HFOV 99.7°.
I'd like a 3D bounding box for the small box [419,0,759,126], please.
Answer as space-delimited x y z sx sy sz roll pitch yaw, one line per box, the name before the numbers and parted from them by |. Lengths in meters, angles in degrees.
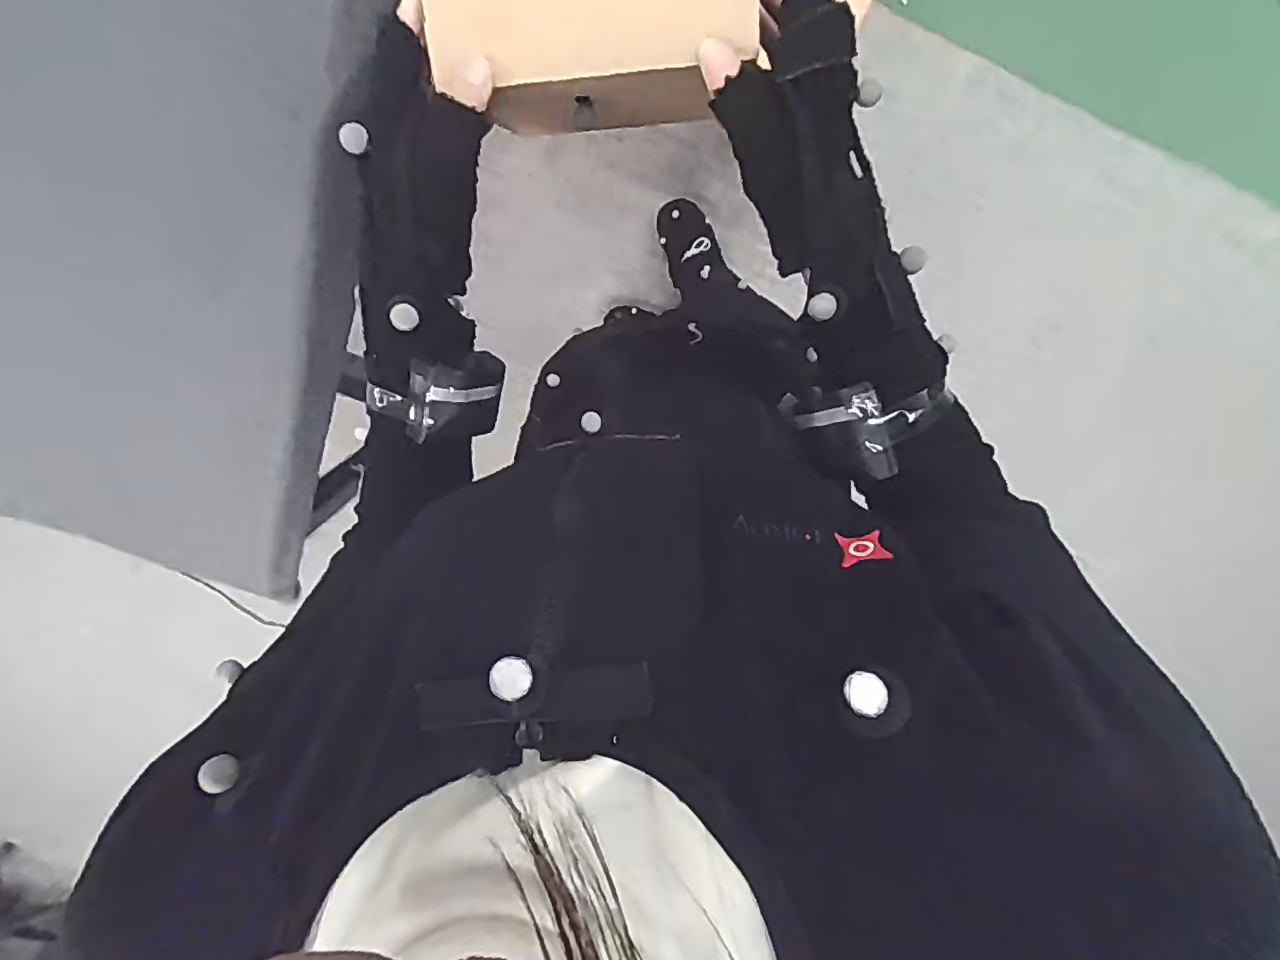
small box | -0.022 -0.324 0.323 0.179 0.176 0.168 0 115 5
